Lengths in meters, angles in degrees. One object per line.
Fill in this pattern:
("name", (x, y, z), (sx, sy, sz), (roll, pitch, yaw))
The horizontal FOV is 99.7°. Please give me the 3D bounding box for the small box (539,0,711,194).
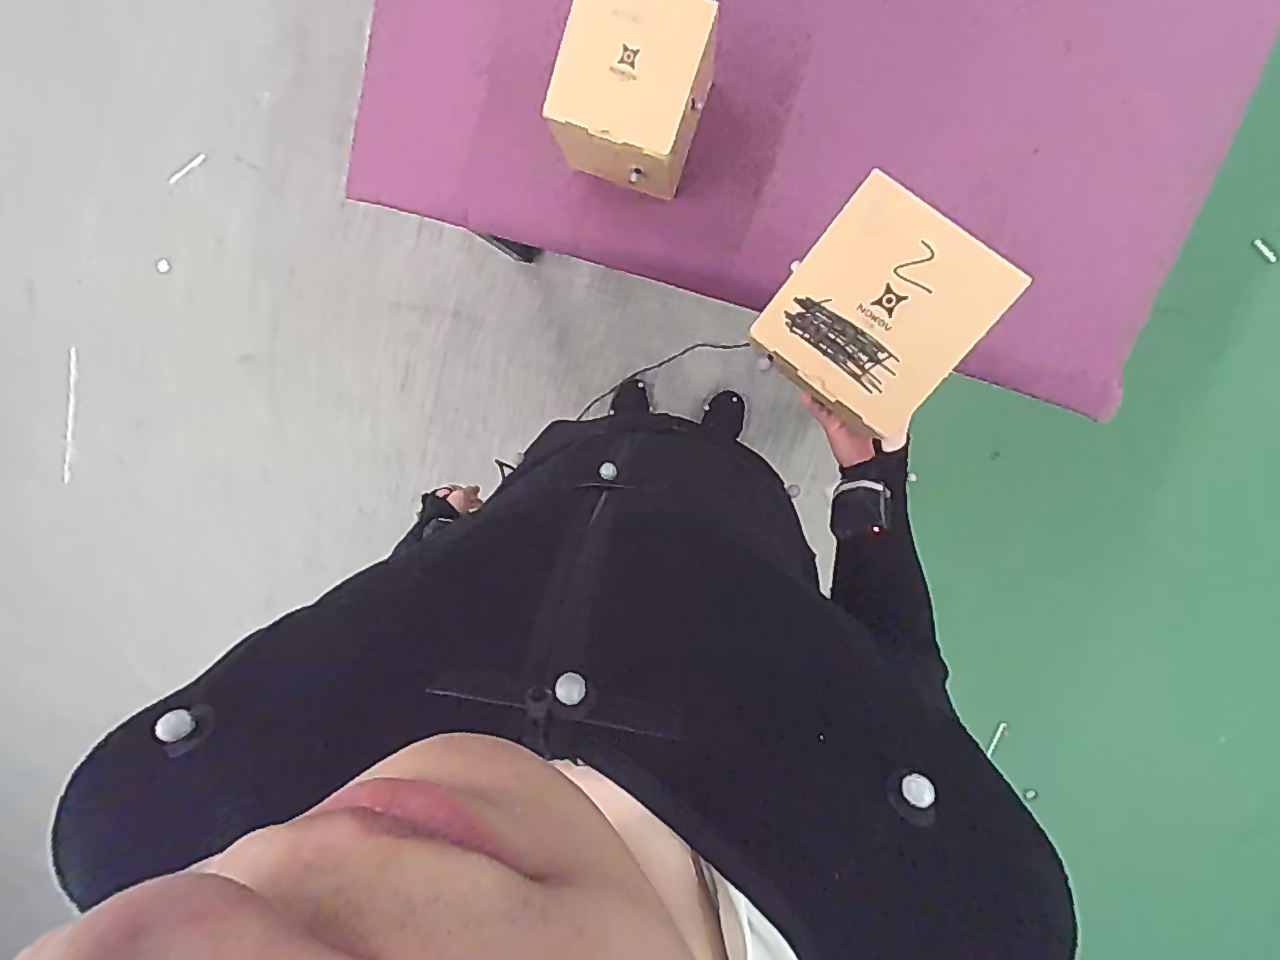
("small box", (-0.013, -0.515, 0.721), (0.168, 0.176, 0.179), (20, 102, 0))
